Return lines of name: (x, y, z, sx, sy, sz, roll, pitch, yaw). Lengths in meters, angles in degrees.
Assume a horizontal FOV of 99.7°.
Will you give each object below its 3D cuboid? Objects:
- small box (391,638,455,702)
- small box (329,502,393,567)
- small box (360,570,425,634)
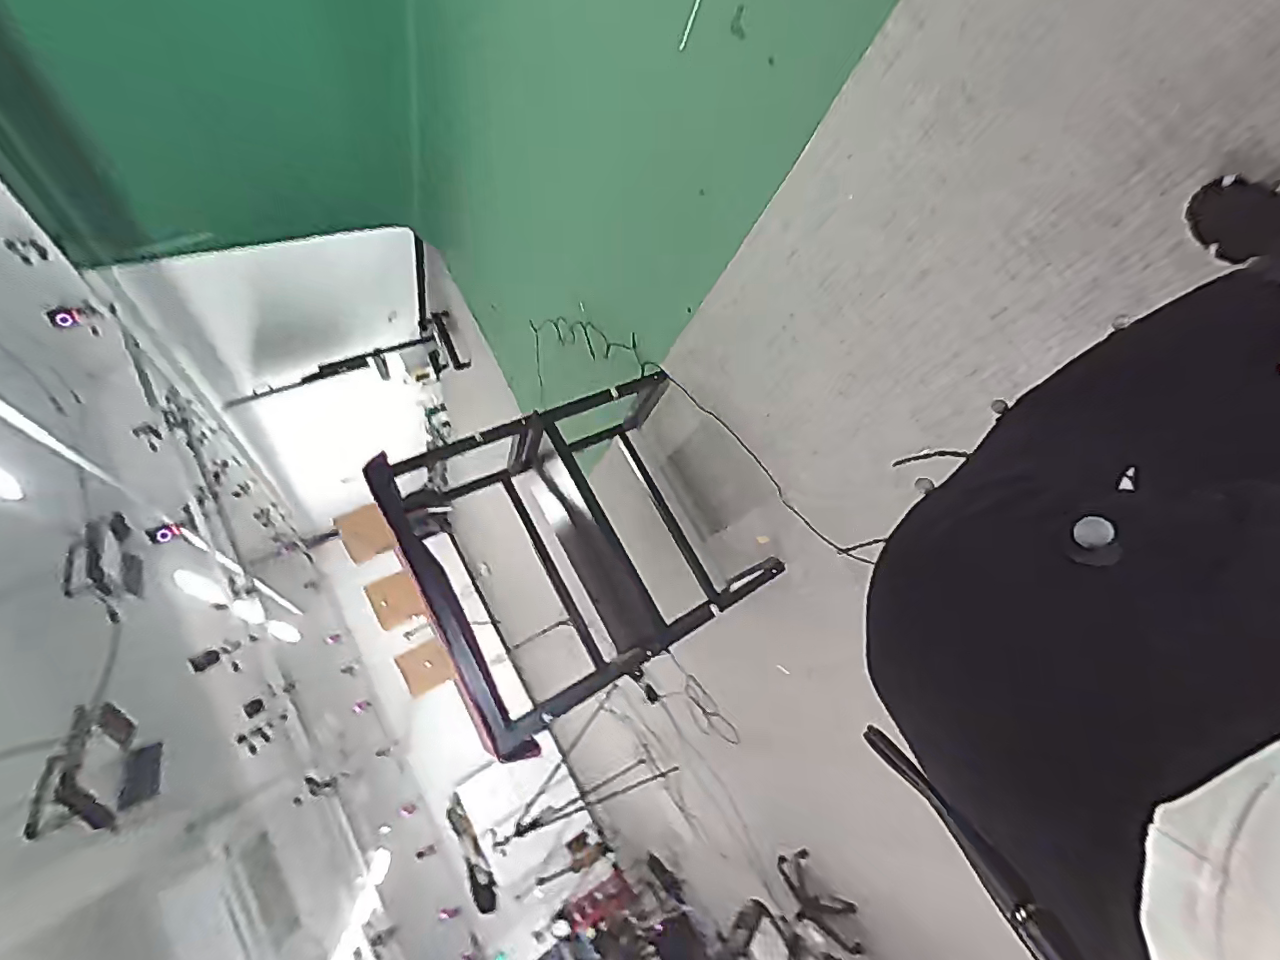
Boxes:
small box: (-0.796, 0.699, 1.996, 0.168, 0.176, 0.179, 60, 153, 11)
small box: (-1.072, 0.210, 2.095, 0.179, 0.176, 0.168, 62, 151, 7)
small box: (-0.932, 0.457, 2.049, 0.179, 0.176, 0.168, 59, 153, 10)
